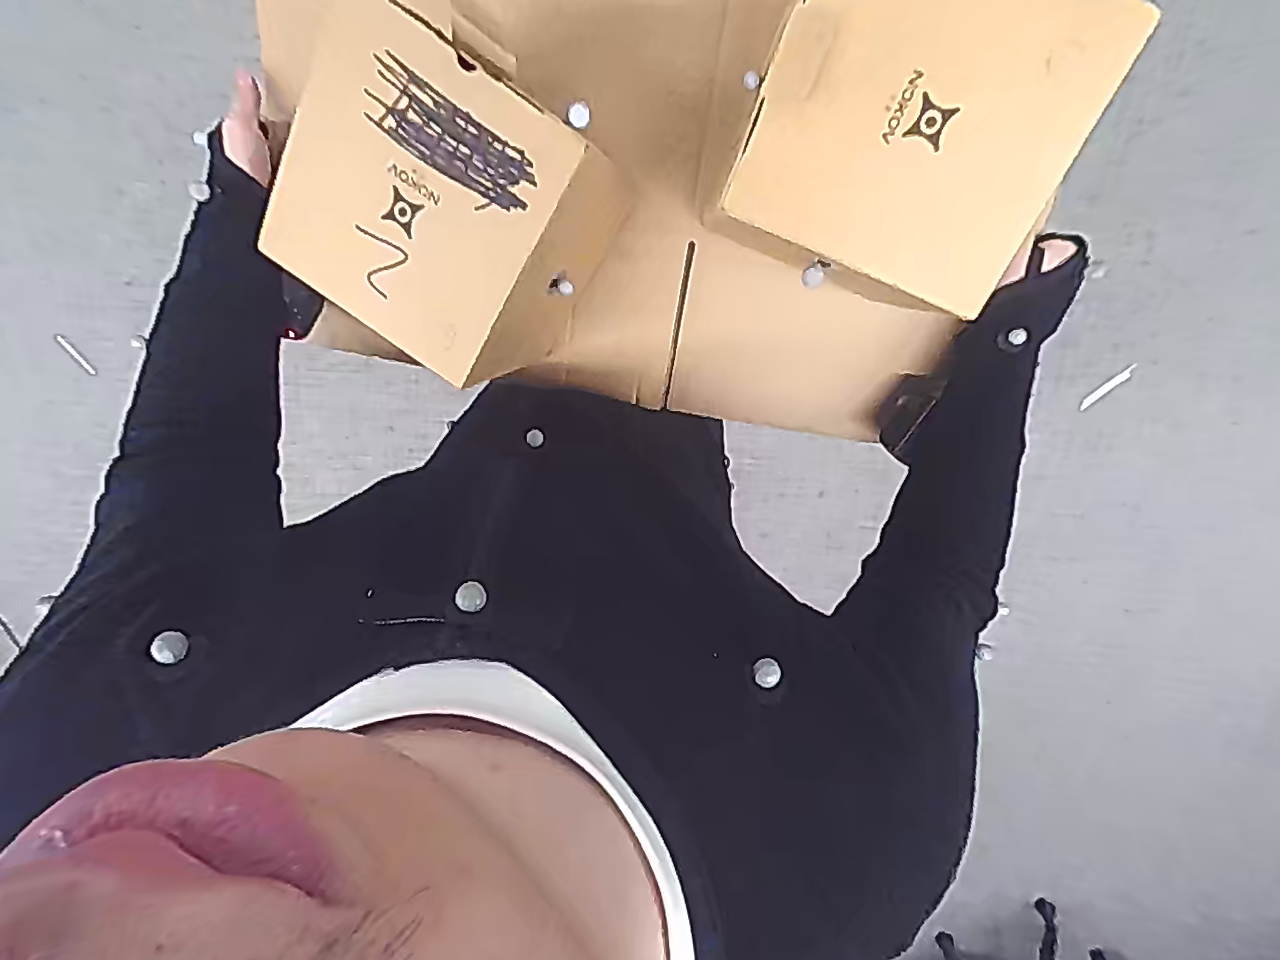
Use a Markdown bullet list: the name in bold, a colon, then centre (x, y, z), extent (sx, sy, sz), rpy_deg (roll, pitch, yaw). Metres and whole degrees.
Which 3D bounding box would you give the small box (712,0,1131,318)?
- **small box**: centre (0.165, -0.235, 0.389), extent (0.179, 0.176, 0.168), rpy_deg (21, 111, -4)
